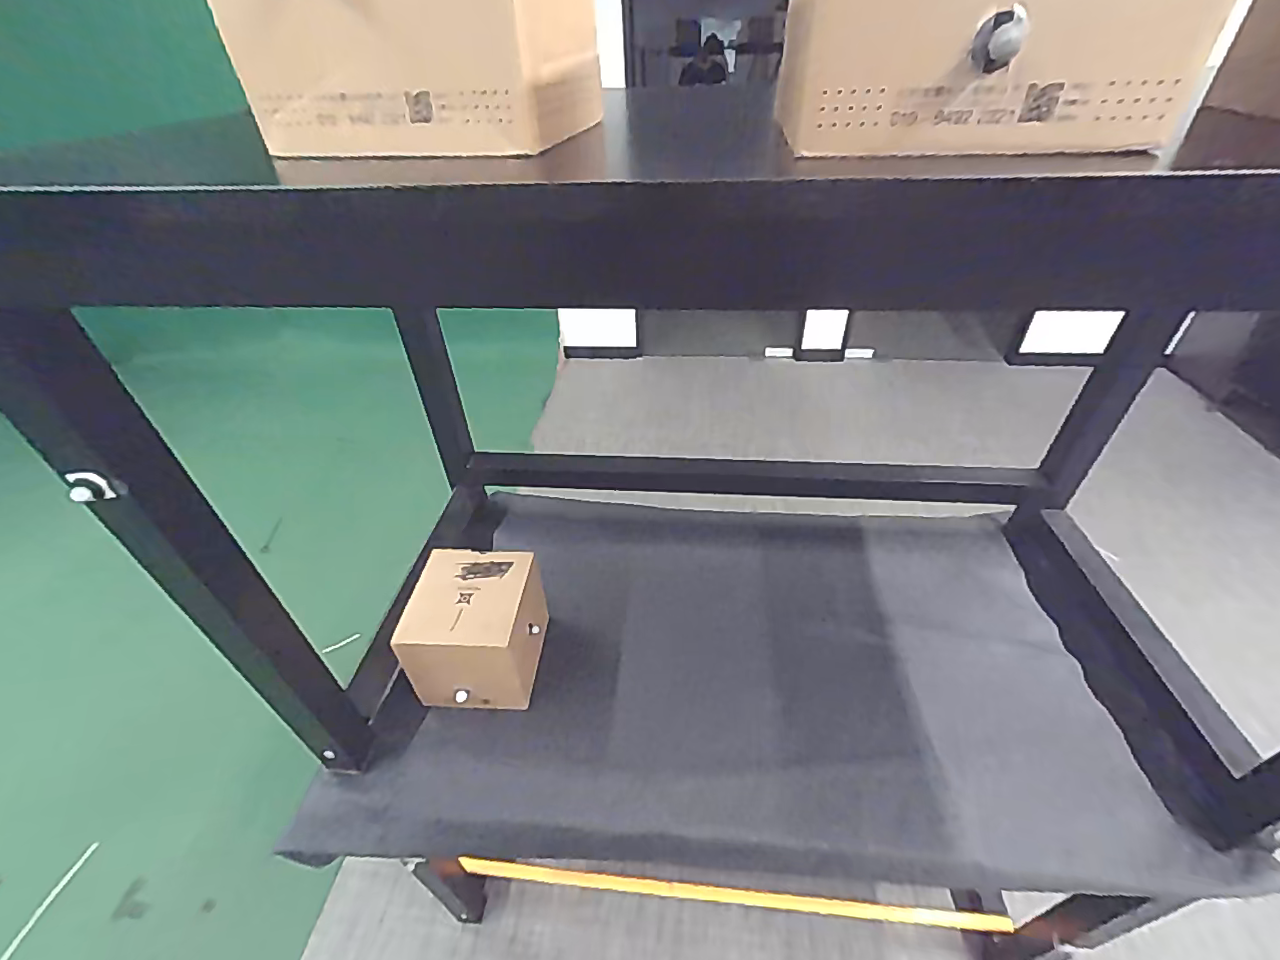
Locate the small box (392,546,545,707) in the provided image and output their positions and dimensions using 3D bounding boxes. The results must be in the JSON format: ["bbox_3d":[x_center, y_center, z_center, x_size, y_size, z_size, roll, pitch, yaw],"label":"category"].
[{"bbox_3d":[-0.249,0.224,0.838,0.168,0.176,0.179,1,39,4],"label":"small box"}]

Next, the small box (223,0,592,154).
[{"bbox_3d":[-0.129,-0.305,0.328,0.168,0.176,0.179,5,39,9],"label":"small box"}]

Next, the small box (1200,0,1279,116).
[{"bbox_3d":[0.437,-0.268,0.246,0.168,0.176,0.179,8,40,12],"label":"small box"}]
